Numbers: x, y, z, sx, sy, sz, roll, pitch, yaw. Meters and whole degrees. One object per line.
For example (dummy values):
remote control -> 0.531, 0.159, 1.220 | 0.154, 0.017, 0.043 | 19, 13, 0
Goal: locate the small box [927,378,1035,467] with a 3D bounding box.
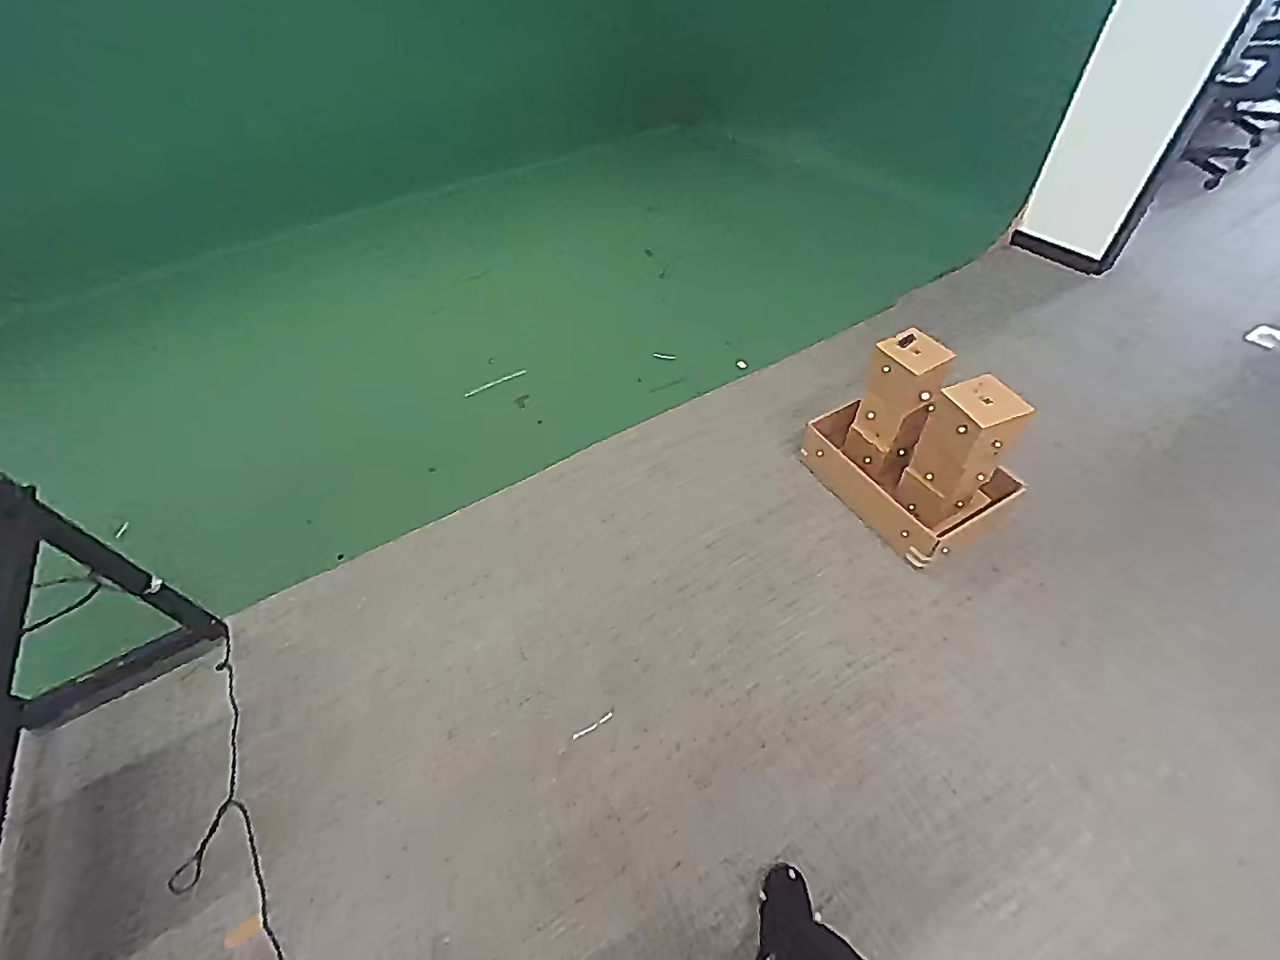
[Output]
small box -> 0.966, -0.157, 1.548 | 0.168, 0.176, 0.179 | -18, 49, -7

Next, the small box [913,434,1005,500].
small box -> 0.991, -0.061, 1.682 | 0.168, 0.176, 0.179 | -24, 50, -12

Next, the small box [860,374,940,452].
small box -> 0.878, -0.224, 1.844 | 0.179, 0.176, 0.168 | -27, 54, -16
